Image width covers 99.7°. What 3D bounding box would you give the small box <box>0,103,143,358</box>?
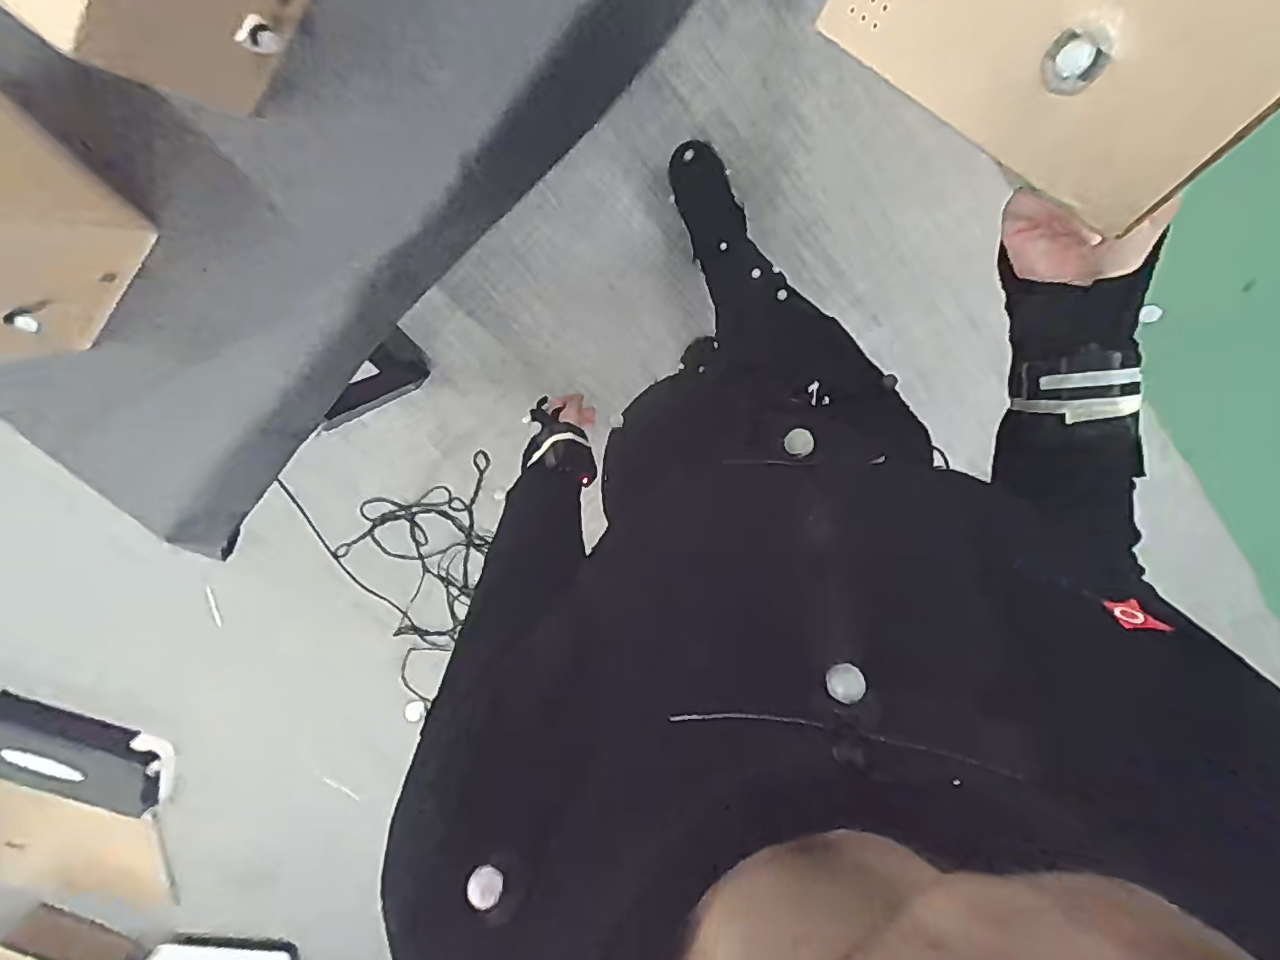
[{"bbox_3d":[-0.585,-0.214,0.446,0.168,0.176,0.179,-43,102,16],"label":"small box"}]

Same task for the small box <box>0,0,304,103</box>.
[{"bbox_3d":[-0.368,-0.403,0.366,0.179,0.176,0.168,38,109,-12],"label":"small box"}]
